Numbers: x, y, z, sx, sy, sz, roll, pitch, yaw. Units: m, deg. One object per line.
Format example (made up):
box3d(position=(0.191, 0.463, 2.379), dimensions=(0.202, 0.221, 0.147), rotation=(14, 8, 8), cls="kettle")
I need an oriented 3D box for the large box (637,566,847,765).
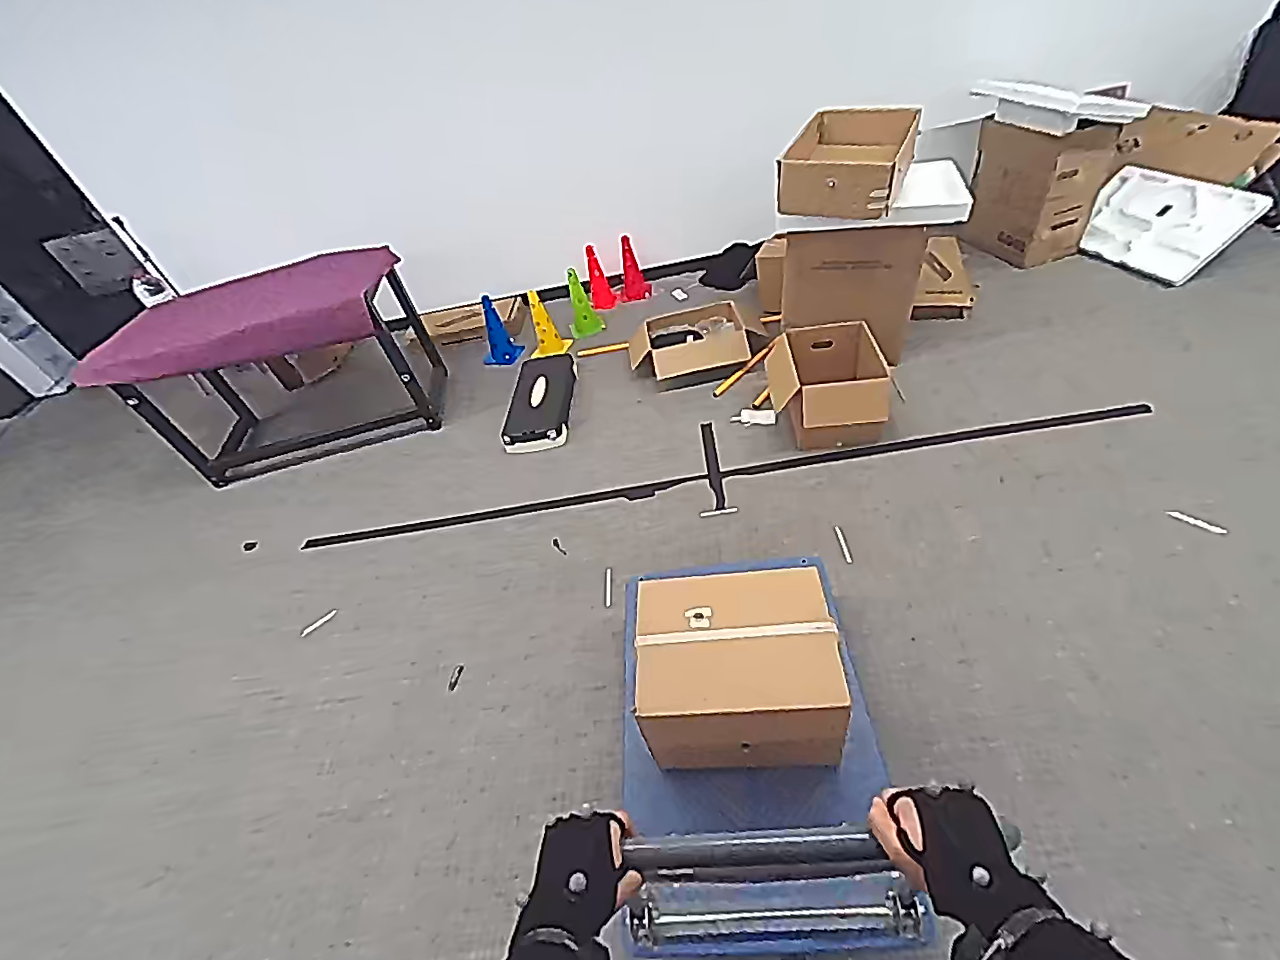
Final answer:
box3d(position=(0.221, 0.430, 1.234), dimensions=(0.408, 0.320, 0.320), rotation=(-7, 43, 9), cls="large box")
